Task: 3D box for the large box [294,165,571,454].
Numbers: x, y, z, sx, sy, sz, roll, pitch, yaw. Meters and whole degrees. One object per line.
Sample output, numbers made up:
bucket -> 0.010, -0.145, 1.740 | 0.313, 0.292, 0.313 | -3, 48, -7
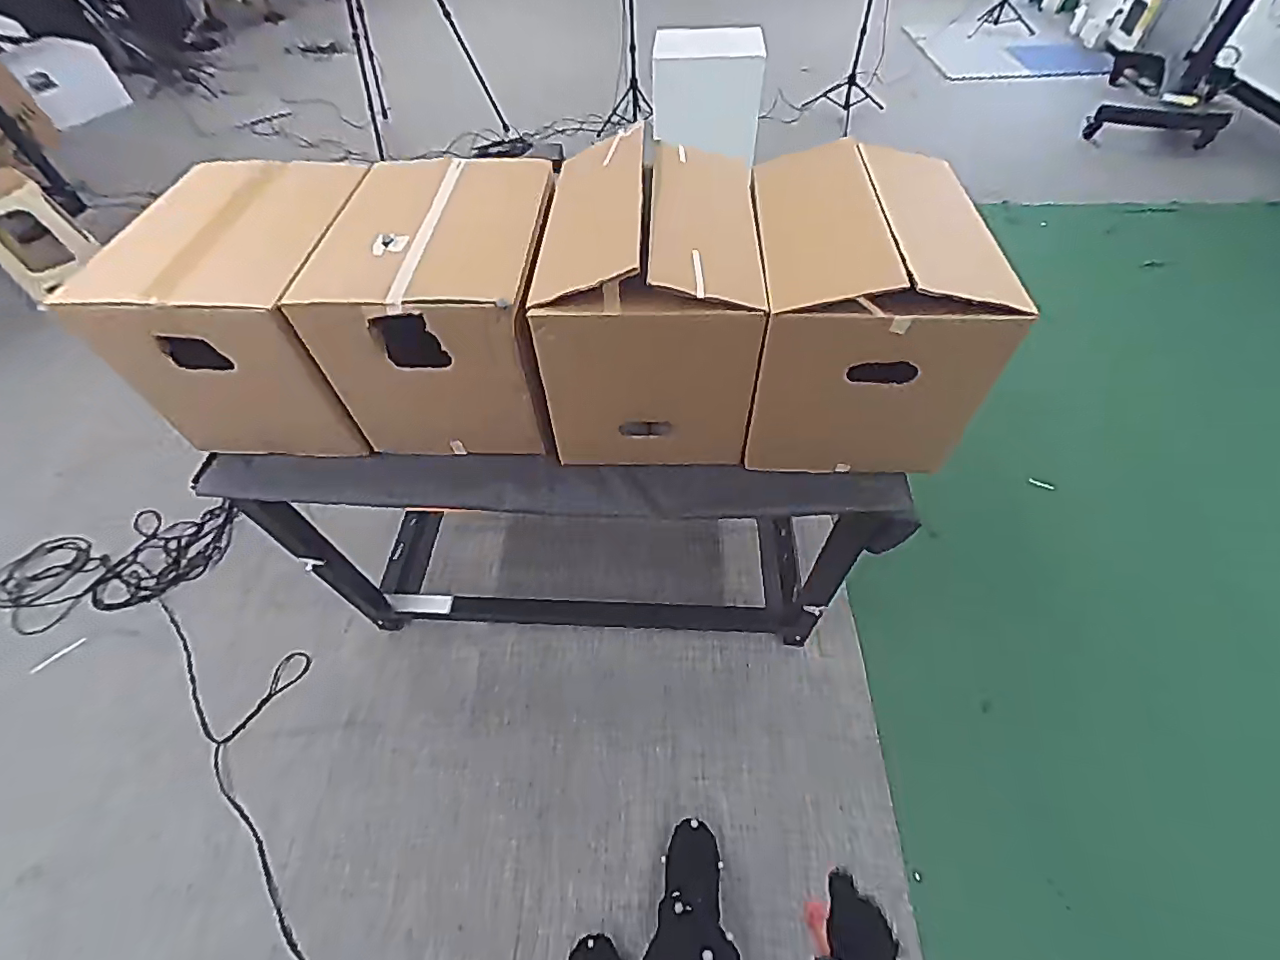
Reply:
large box -> -0.302, -0.295, 0.945 | 0.320, 0.320, 0.408 | 0, 55, 3
